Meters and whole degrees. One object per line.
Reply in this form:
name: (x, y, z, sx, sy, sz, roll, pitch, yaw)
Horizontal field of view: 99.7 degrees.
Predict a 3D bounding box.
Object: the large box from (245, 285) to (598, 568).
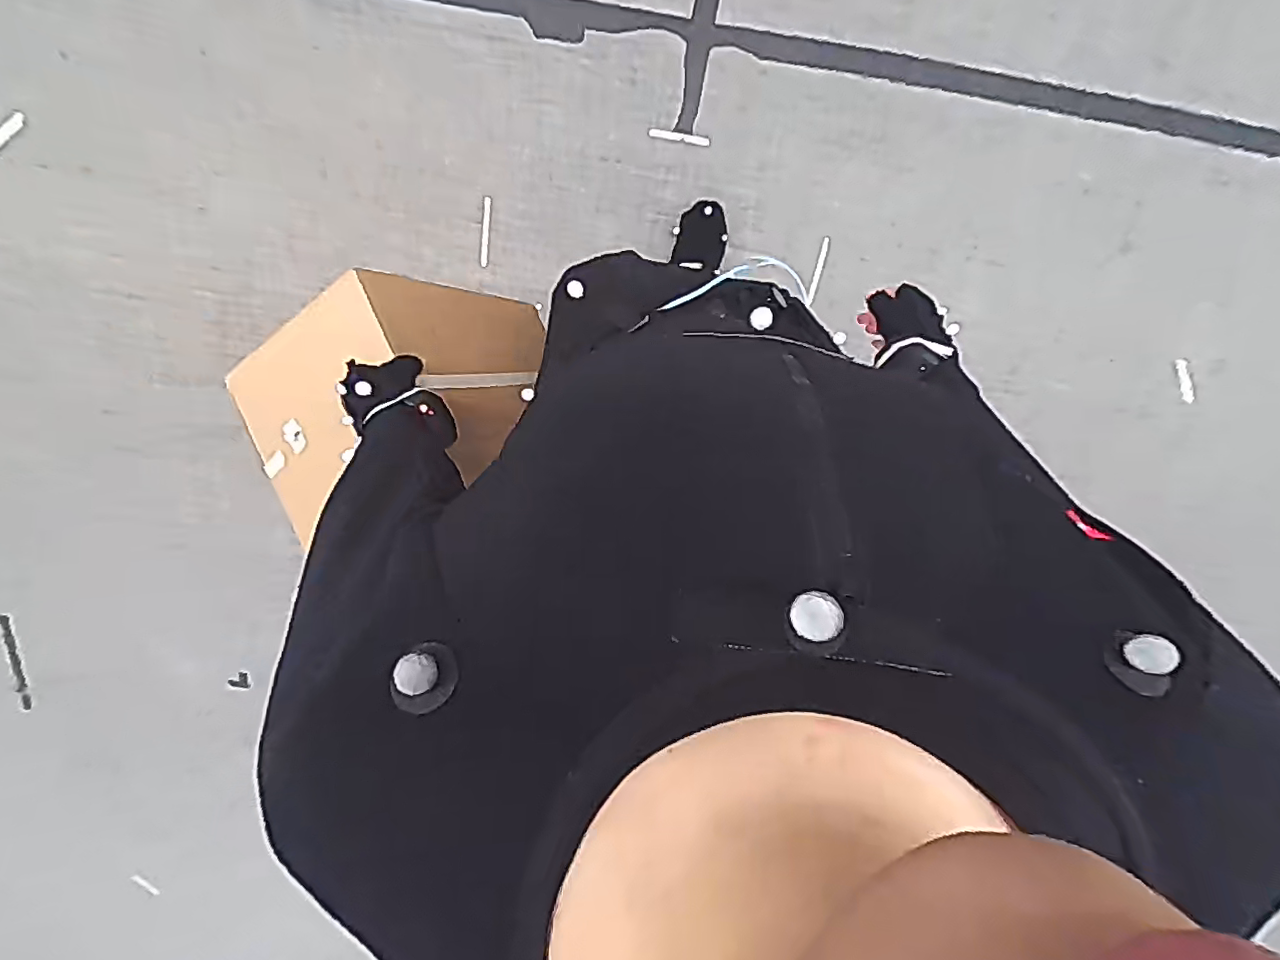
large box: (-0.340, -0.094, 0.930, 0.320, 0.408, 0.320, -24, 91, 24)
